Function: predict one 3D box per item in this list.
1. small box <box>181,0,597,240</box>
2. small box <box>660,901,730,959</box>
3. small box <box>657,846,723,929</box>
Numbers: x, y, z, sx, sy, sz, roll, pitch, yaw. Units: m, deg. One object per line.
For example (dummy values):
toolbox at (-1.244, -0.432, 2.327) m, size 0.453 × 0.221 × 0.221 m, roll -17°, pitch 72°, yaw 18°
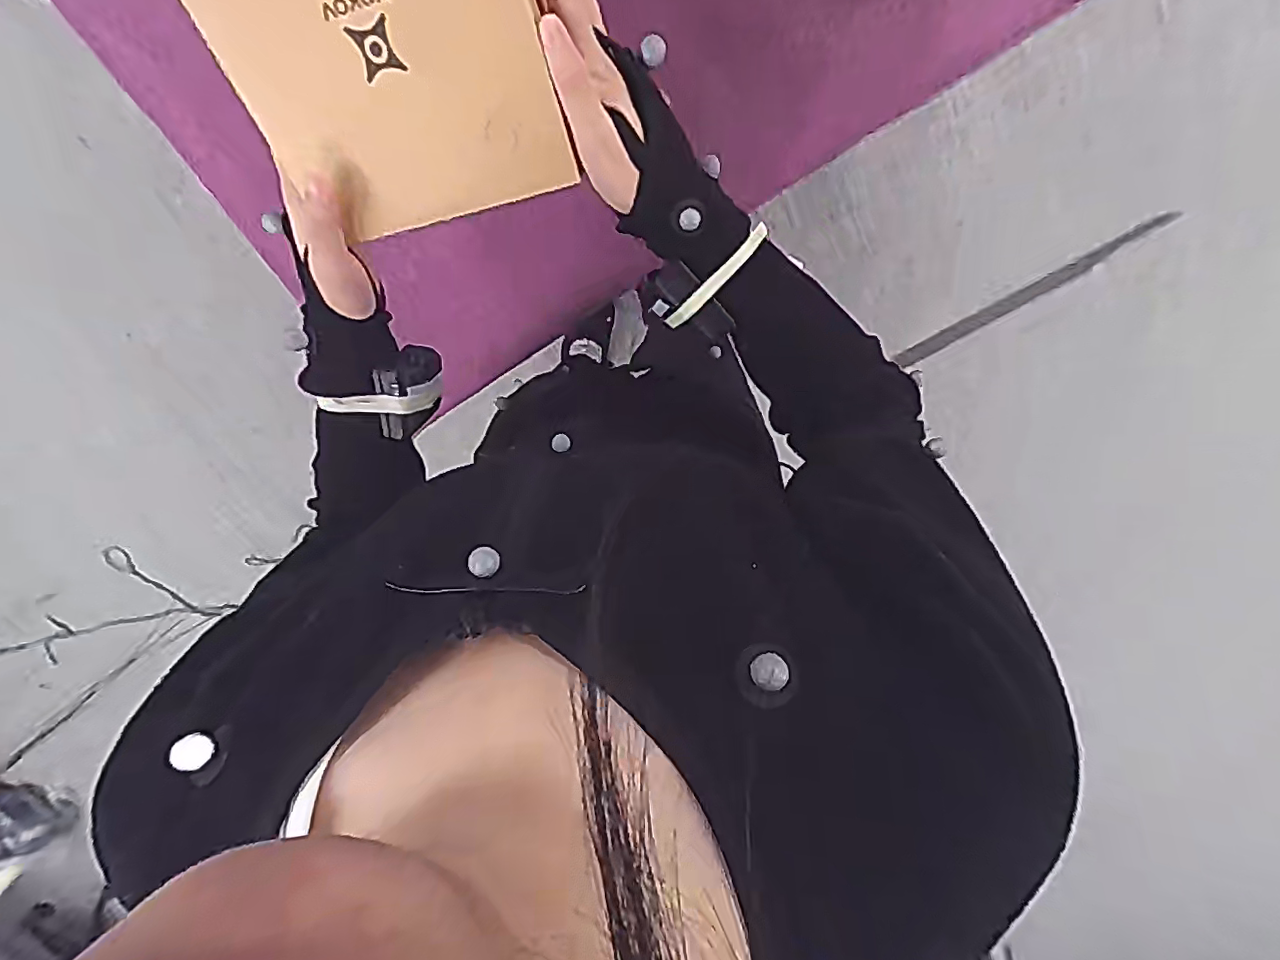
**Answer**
small box at (-0.130, -0.275, 0.322) m, size 0.168 × 0.176 × 0.179 m, roll -9°, pitch 132°, yaw 11°
small box at (0.165, 1.431, 1.644) m, size 0.168 × 0.176 × 0.179 m, roll 15°, pitch 114°, yaw -10°
small box at (0.159, 1.359, 1.792) m, size 0.168 × 0.176 × 0.179 m, roll 15°, pitch 113°, yaw -9°
